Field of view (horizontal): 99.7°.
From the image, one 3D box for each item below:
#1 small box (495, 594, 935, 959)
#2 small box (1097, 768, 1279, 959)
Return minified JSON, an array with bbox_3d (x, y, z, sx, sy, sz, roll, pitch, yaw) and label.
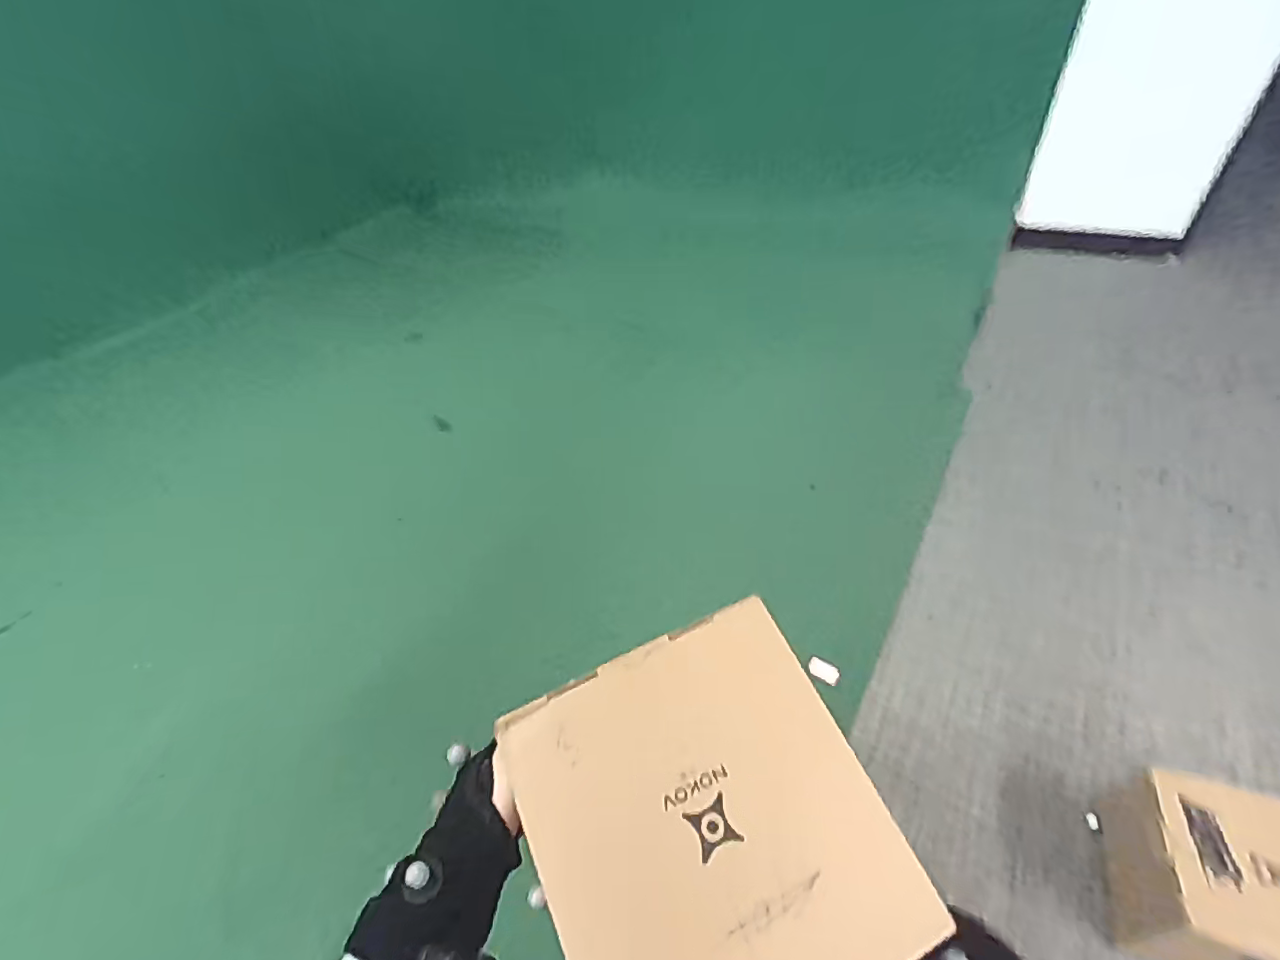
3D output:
[{"bbox_3d":[0.026,0.203,0.337,0.168,0.176,0.179,-22,63,-14],"label":"small box"},{"bbox_3d":[0.669,0.469,0.621,0.179,0.176,0.168,10,47,19],"label":"small box"}]
